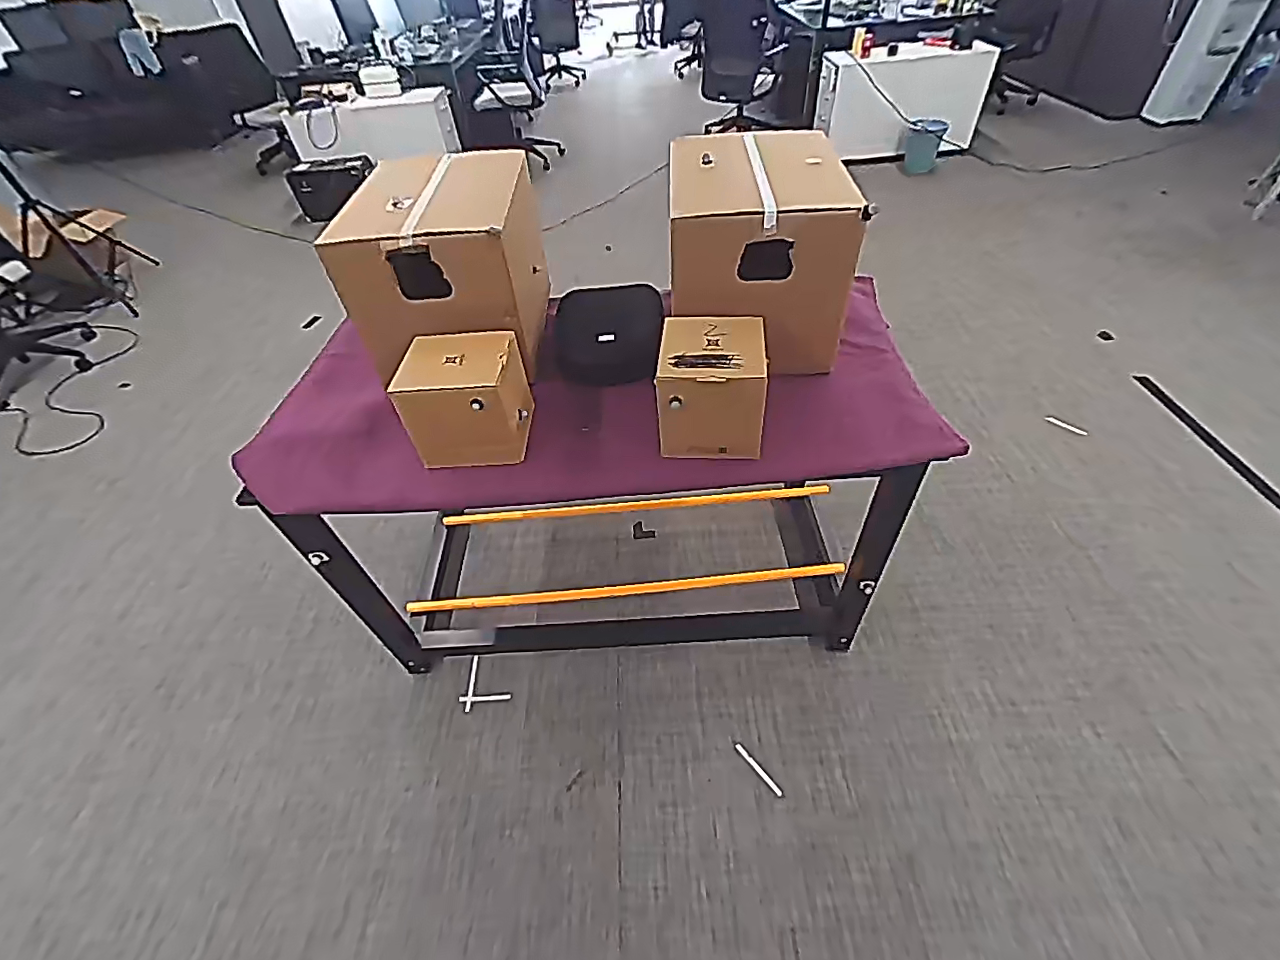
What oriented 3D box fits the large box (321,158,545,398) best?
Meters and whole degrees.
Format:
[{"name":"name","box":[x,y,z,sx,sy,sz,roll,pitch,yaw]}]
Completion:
[{"name":"large box","box":[-0.381,-0.425,1.127,0.320,0.320,0.408,-5,49,1]}]
